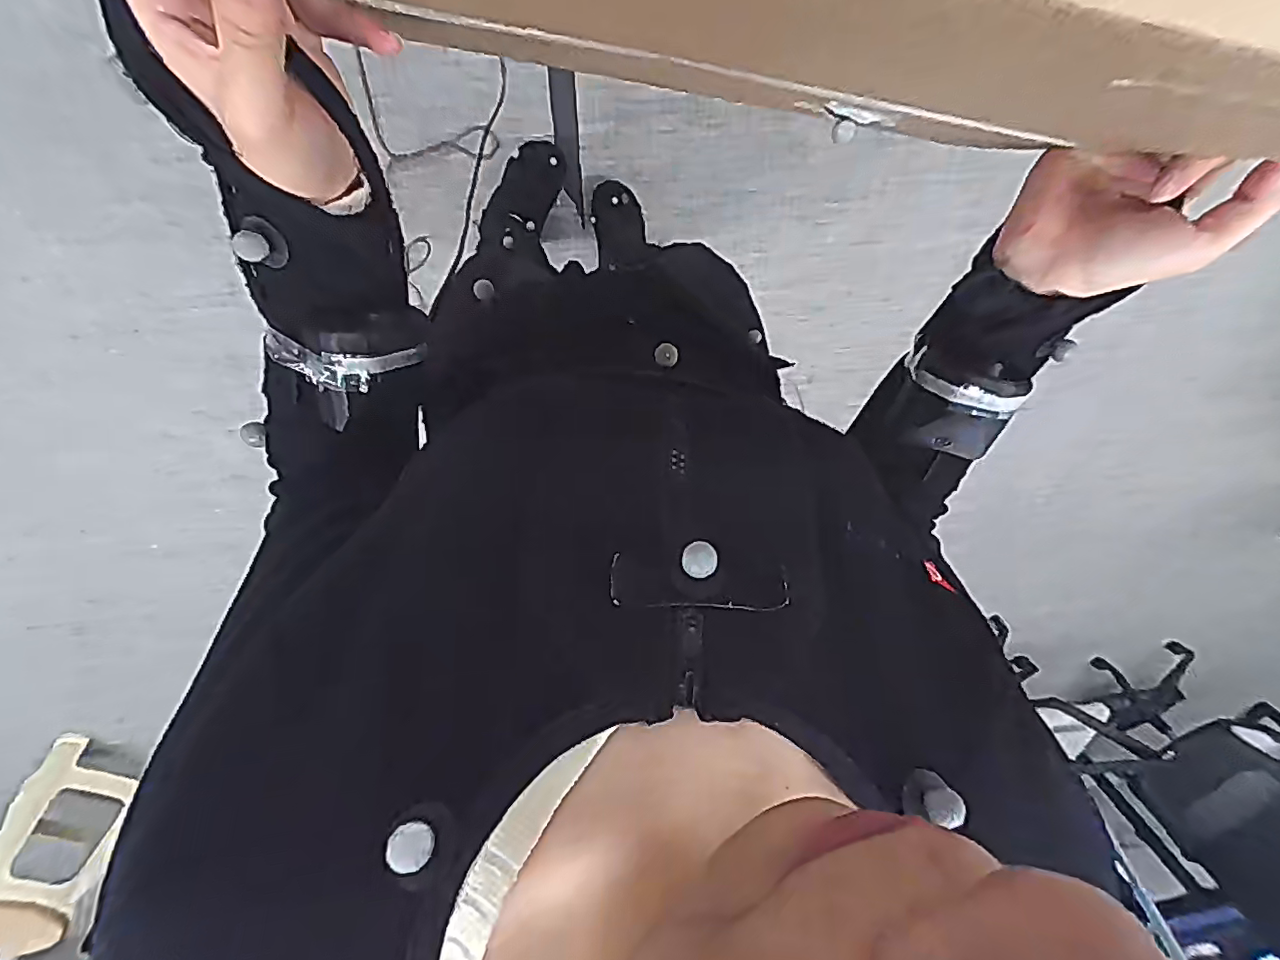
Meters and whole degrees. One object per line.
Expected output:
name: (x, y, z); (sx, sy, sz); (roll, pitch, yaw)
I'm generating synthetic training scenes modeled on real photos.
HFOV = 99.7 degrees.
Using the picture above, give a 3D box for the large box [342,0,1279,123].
large box: (0.074, -0.313, 0.144); (0.408, 0.320, 0.320); (2, 124, -10)
